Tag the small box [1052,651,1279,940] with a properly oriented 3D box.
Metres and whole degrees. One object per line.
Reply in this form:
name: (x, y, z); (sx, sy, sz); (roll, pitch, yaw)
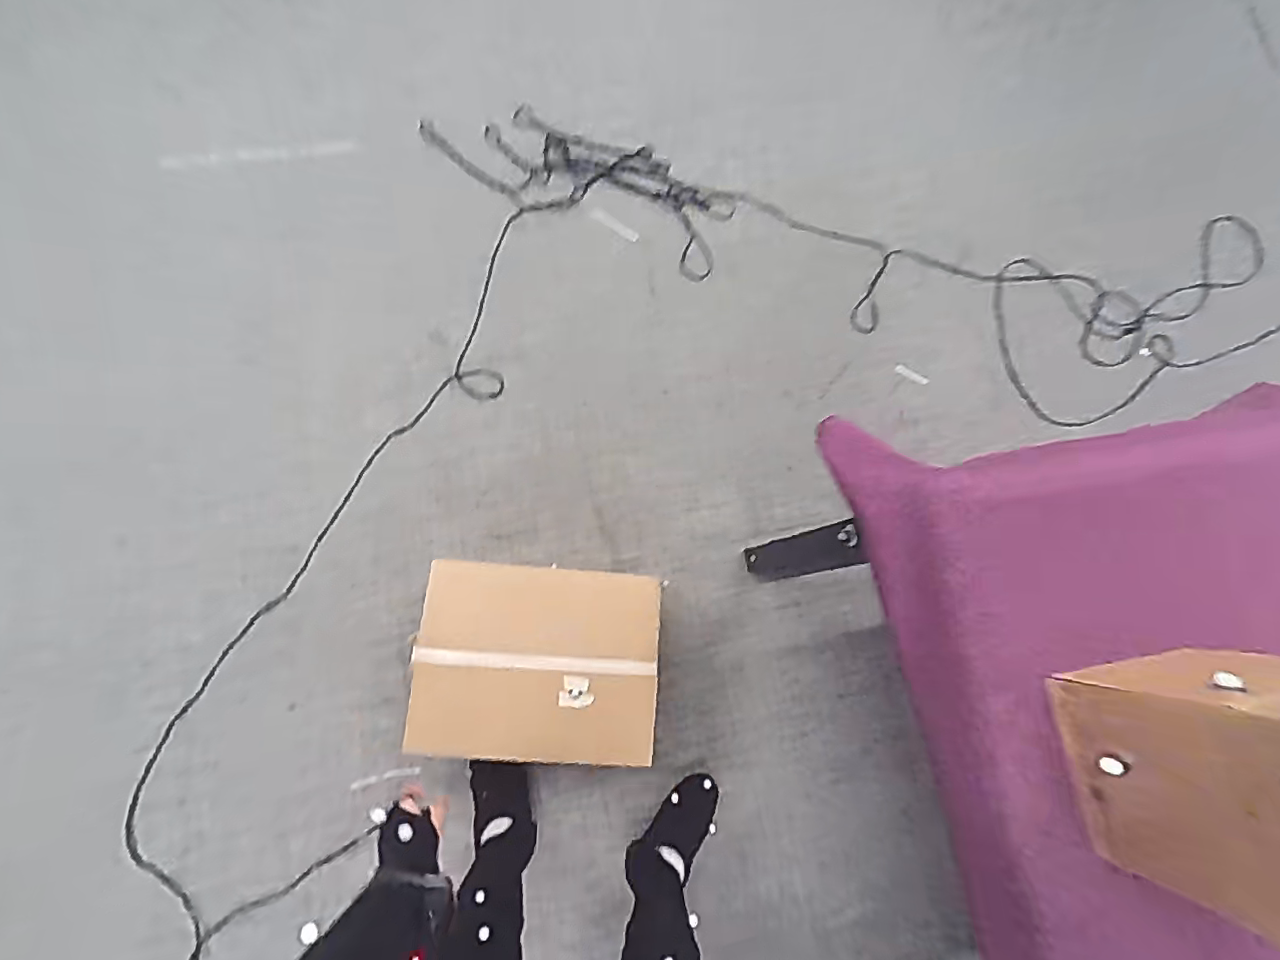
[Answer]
small box: (0.518, 0.249, 0.466); (0.179, 0.176, 0.168); (-8, 78, -7)
